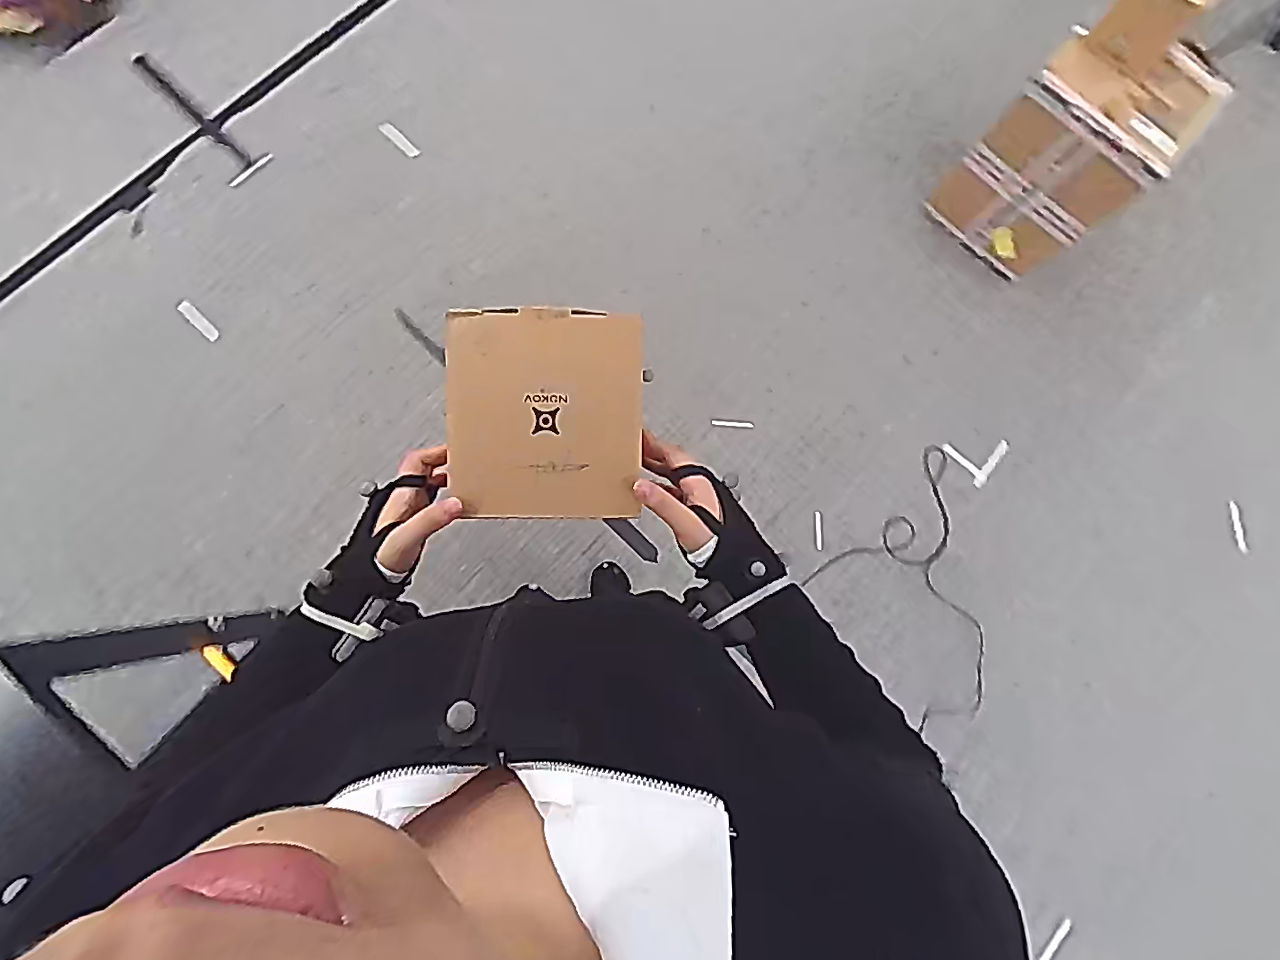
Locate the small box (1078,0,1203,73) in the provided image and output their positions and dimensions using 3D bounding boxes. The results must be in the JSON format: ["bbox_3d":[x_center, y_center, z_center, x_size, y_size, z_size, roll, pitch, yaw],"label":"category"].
[{"bbox_3d":[1.171,-1.102,1.238,0.168,0.176,0.179,41,83,5],"label":"small box"}]
